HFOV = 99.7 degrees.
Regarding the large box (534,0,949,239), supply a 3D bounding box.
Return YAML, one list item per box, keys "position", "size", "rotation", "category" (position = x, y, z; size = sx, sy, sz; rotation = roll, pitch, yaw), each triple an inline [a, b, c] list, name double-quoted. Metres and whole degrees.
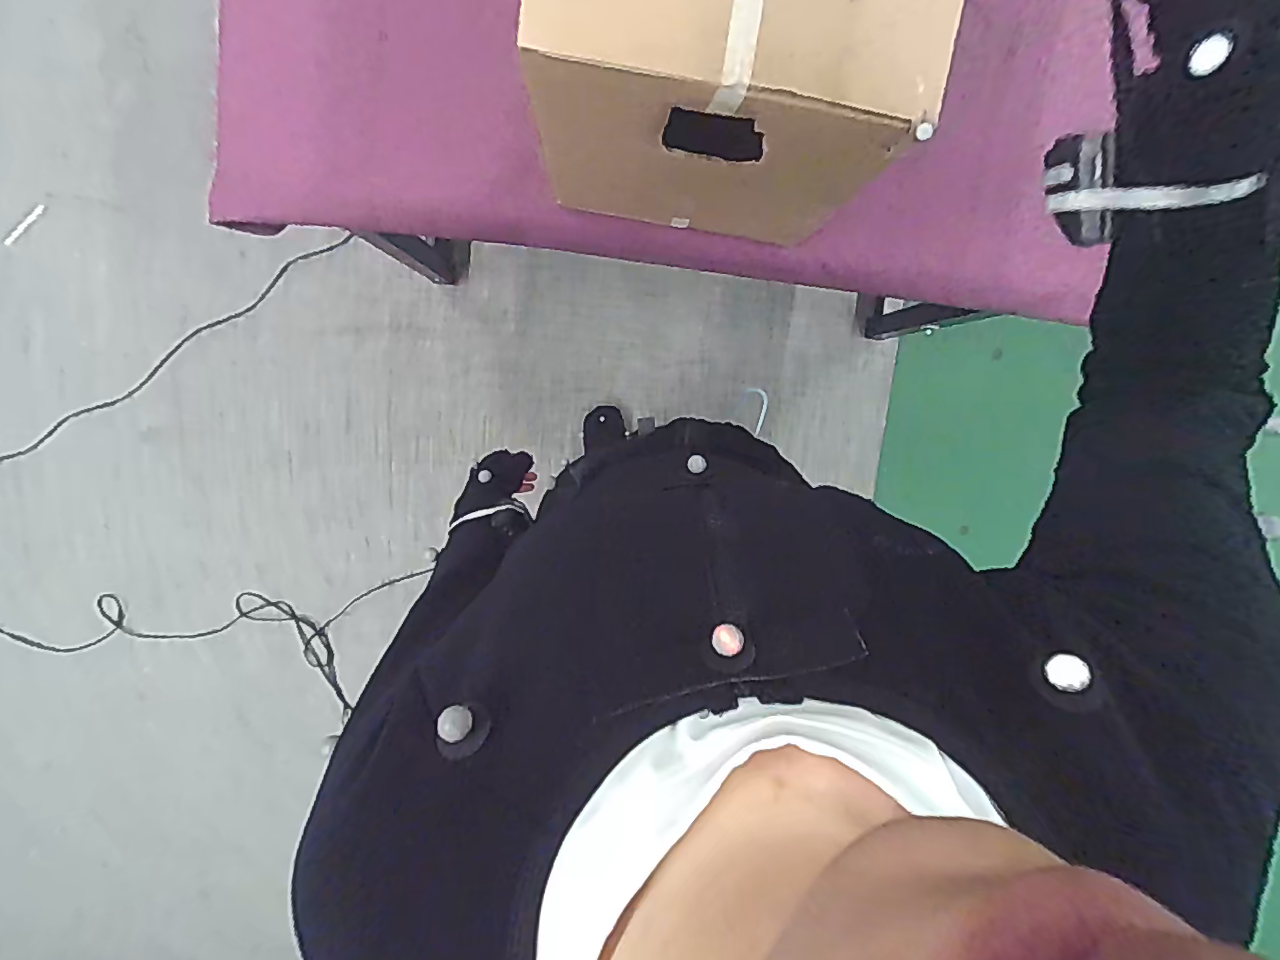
- position: [0.089, -0.507, 0.528]
  size: [0.320, 0.320, 0.408]
  rotation: [8, 99, -4]
  category: "large box"
